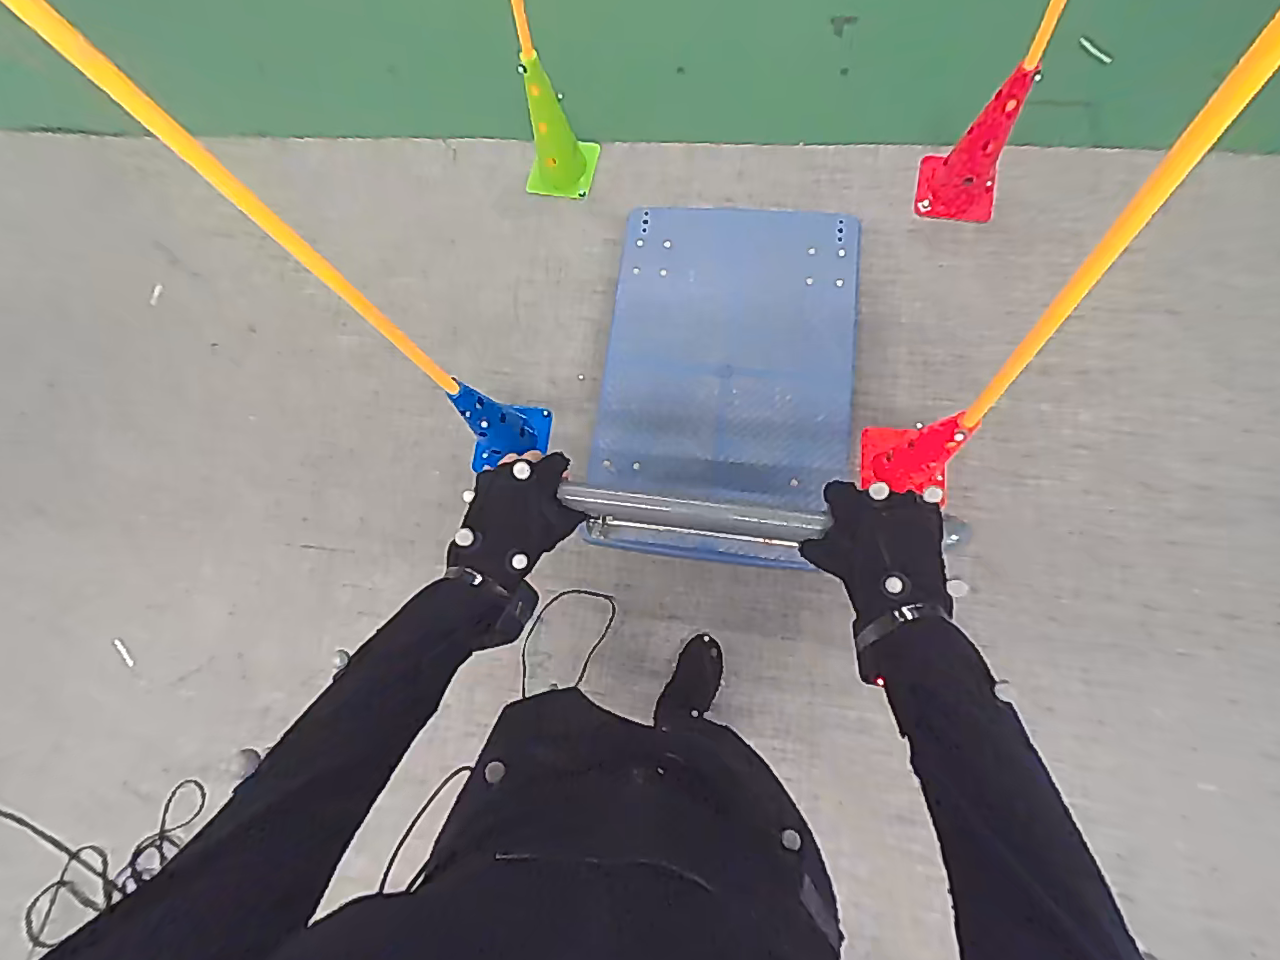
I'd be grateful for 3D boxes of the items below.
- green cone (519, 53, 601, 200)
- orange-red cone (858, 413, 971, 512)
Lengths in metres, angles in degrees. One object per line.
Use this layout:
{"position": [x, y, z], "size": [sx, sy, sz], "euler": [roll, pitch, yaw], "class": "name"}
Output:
{"position": [-0.252, -0.997, 1.503], "size": [0.202, 0.368, 0.200], "euler": [10, 77, 9], "class": "green cone"}
{"position": [0.626, -0.065, 1.187], "size": [0.199, 0.360, 0.198], "euler": [5, 77, 9], "class": "orange-red cone"}
